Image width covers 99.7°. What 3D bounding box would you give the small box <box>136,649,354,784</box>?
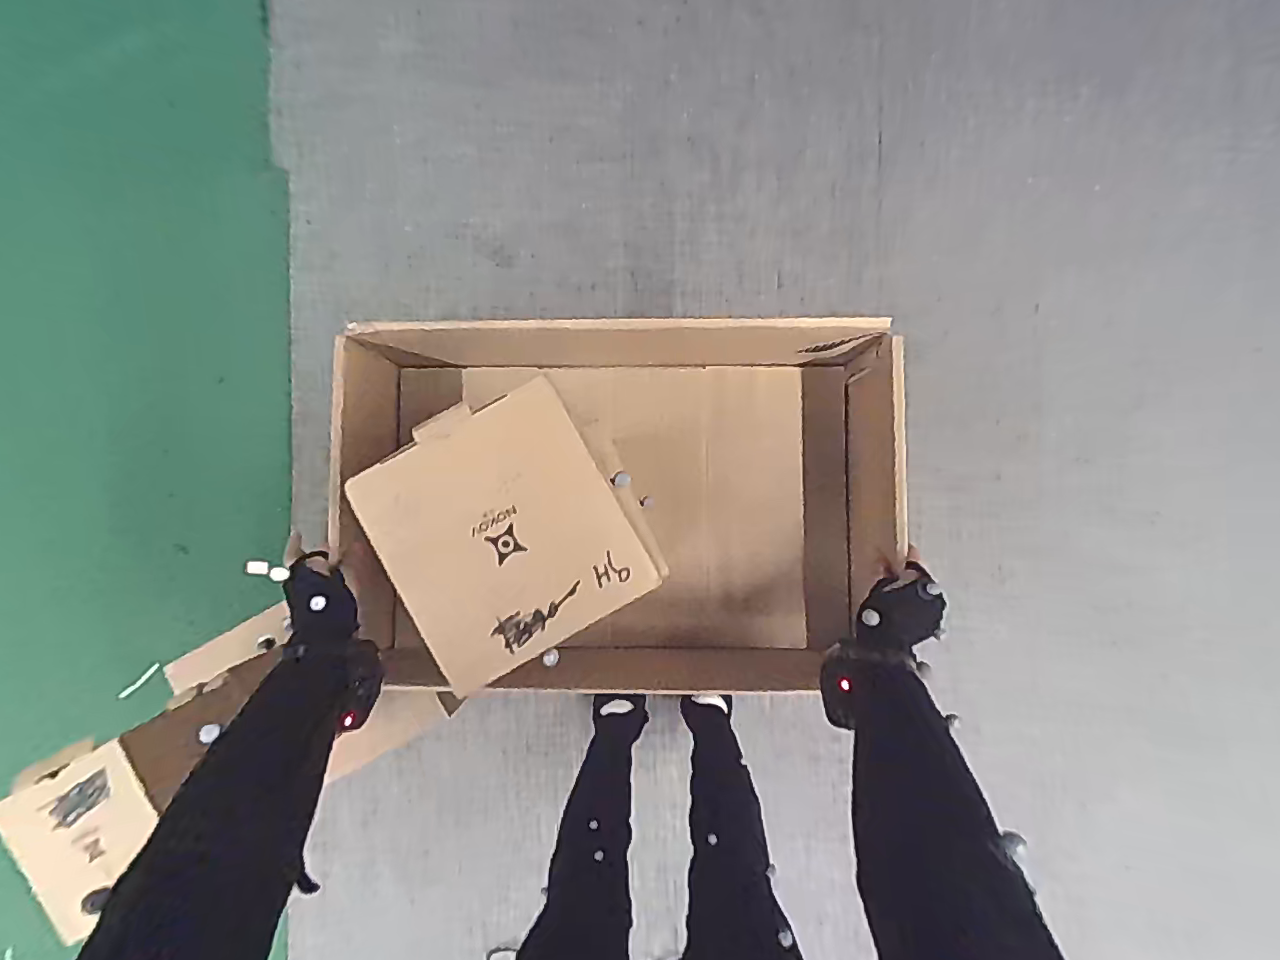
[{"bbox_3d":[-0.582,0.378,0.817,0.168,0.176,0.179,-33,89,2],"label":"small box"}]

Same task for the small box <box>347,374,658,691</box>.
[{"bbox_3d":[-0.098,0.042,0.460,0.168,0.176,0.179,-29,86,-1],"label":"small box"}]

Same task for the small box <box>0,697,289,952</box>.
[{"bbox_3d":[-0.581,0.389,0.653,0.168,0.176,0.179,-28,90,2],"label":"small box"}]
